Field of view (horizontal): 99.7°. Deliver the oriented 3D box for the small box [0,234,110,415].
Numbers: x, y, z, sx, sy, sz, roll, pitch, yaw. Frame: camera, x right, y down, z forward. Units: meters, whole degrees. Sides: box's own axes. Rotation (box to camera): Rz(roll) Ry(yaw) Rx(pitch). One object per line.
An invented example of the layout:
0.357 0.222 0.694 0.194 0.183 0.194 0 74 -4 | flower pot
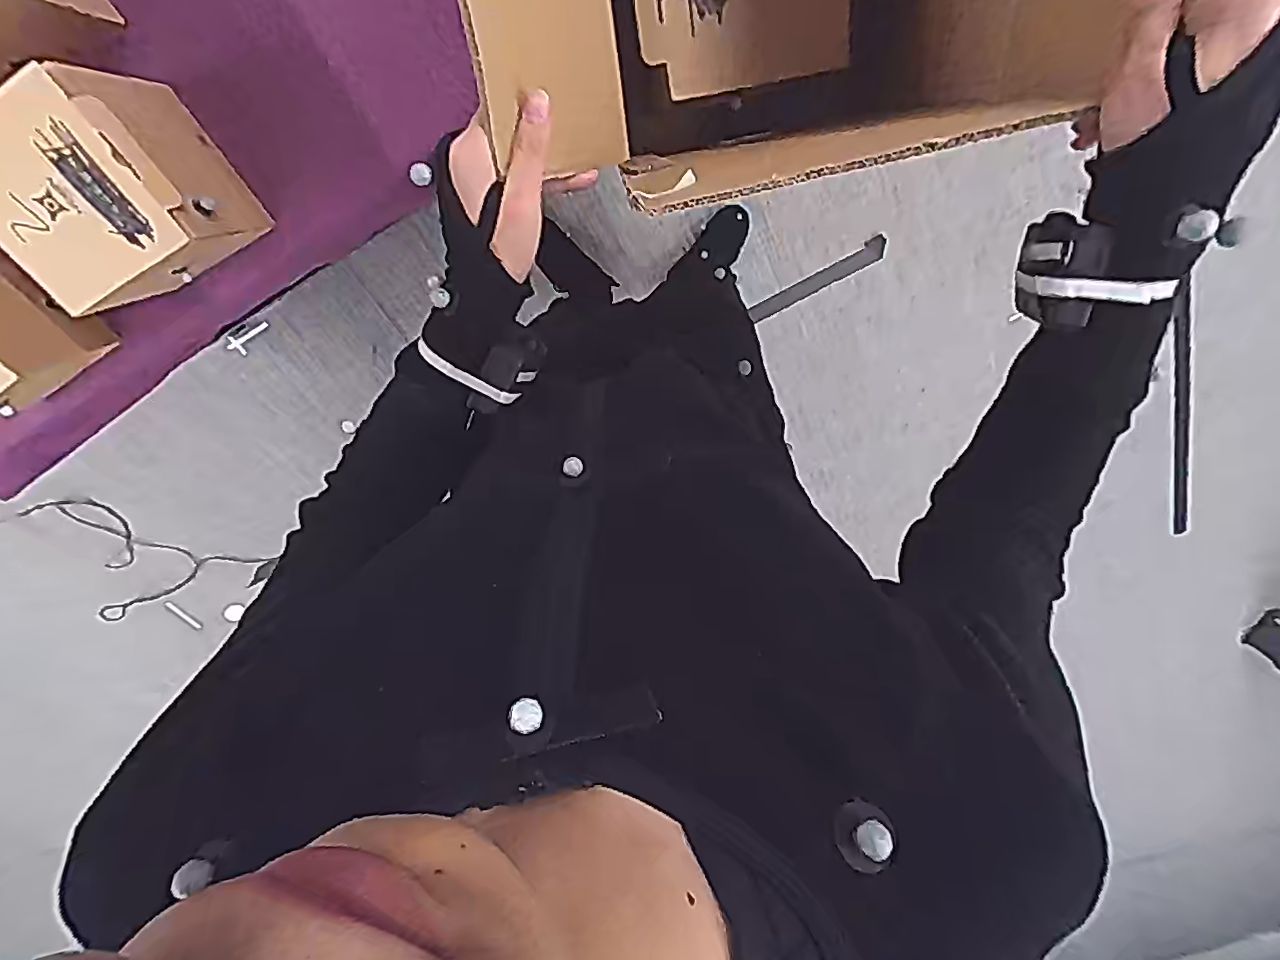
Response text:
-0.814 -0.170 0.644 0.179 0.176 0.168 -28 119 9 | small box
